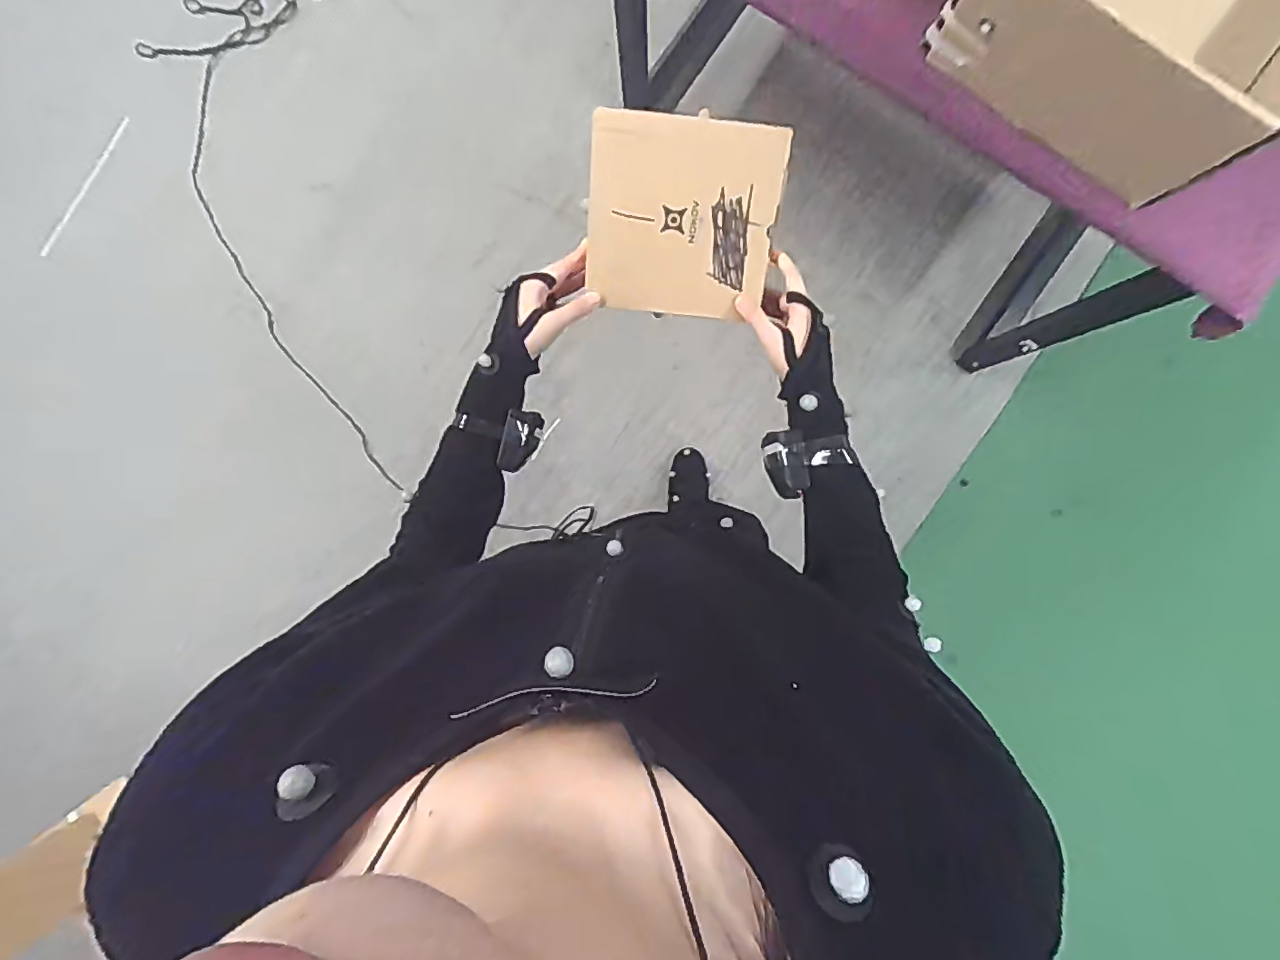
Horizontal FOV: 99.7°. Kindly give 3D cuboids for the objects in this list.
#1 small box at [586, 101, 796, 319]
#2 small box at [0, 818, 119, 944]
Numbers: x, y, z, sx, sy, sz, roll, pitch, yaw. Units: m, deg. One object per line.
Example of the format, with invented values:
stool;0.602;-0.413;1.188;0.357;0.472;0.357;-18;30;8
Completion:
small box;0.039;-0.275;0.567;0.179;0.176;0.168;5;115;-3
small box;-1.295;0.880;1.153;0.179;0.176;0.168;-36;89;2
